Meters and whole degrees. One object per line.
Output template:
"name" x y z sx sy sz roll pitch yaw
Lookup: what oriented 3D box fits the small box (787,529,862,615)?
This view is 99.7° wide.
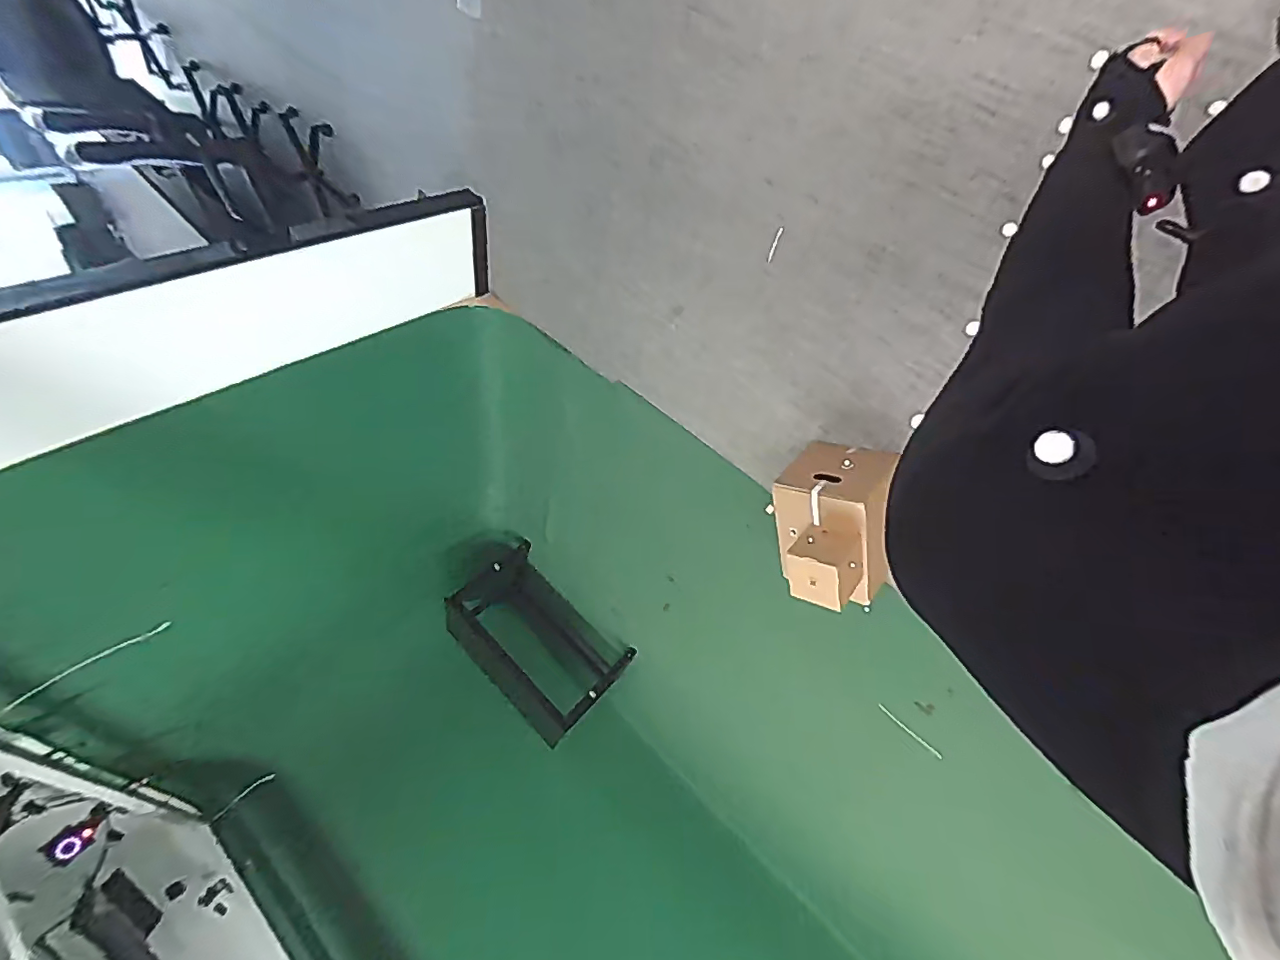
"small box" 0.574 0.277 1.668 0.168 0.176 0.179 14 130 41
